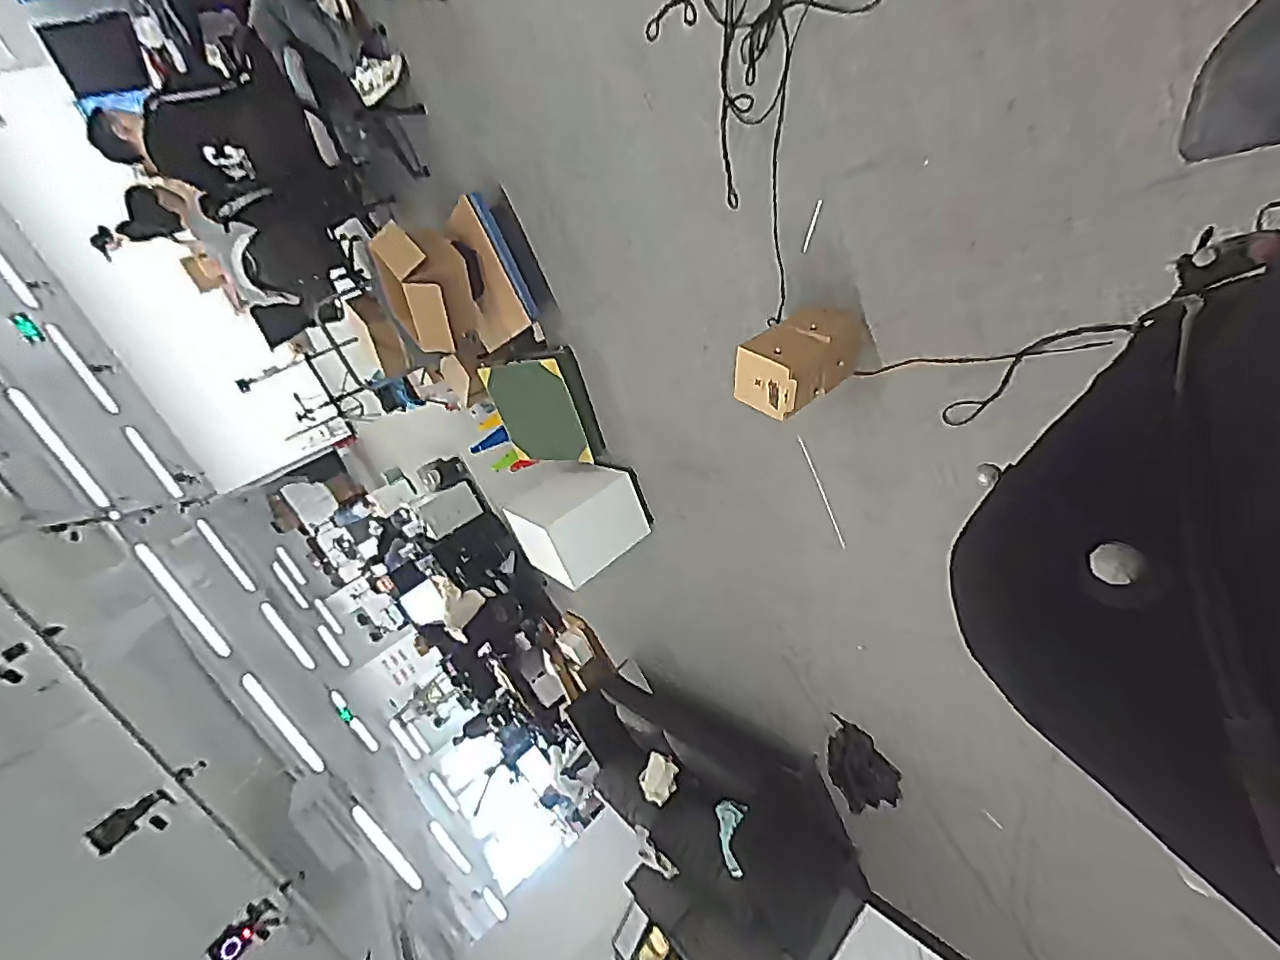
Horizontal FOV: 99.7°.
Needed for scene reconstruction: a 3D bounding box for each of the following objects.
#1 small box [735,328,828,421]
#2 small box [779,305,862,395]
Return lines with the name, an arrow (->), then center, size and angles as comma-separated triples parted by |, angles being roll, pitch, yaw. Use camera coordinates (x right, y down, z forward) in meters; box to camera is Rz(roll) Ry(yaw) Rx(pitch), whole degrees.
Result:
small box -> 0.385, -0.294, 1.475 | 0.179, 0.176, 0.168 | 35, 145, 35
small box -> 0.512, -0.374, 1.544 | 0.168, 0.176, 0.179 | 31, 143, 39
